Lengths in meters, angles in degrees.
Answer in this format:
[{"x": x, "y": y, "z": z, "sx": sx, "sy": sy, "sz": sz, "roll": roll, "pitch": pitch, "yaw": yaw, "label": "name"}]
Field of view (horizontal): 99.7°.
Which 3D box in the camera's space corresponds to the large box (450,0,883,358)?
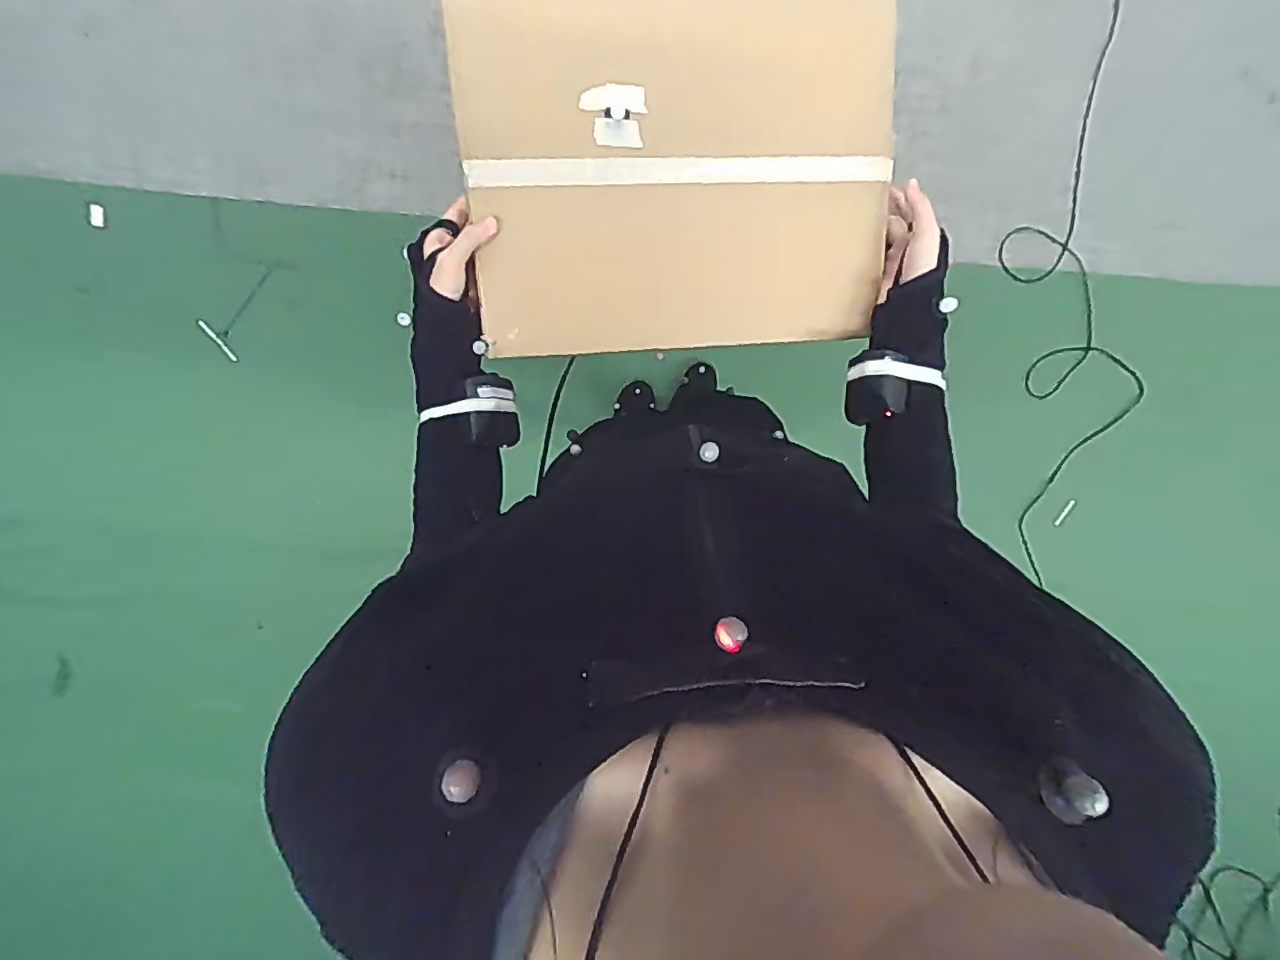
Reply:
[{"x": 0.020, "y": -0.325, "z": 0.662, "sx": 0.408, "sy": 0.320, "sz": 0.320, "roll": -5, "pitch": 104, "yaw": -8, "label": "large box"}]
